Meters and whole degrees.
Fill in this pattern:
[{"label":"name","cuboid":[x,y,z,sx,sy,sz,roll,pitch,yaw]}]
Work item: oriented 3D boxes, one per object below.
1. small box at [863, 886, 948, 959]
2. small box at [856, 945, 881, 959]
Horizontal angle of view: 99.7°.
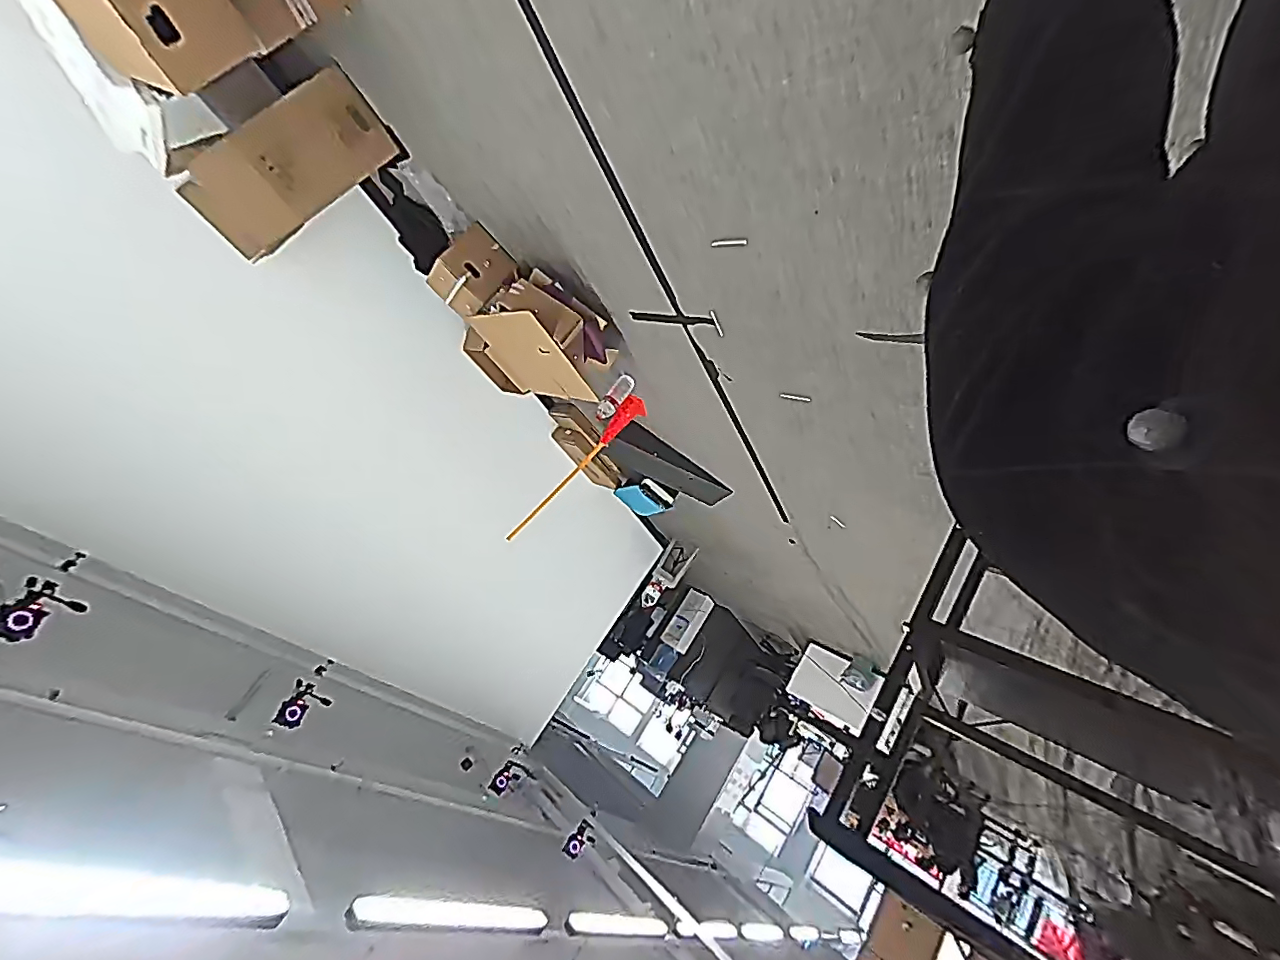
[{"label":"small box","cuboid":[0.763,1.303,1.545,0.168,0.176,0.179,18,157,40]},{"label":"small box","cuboid":[0.673,1.433,1.499,0.168,0.176,0.179,21,157,40]}]
